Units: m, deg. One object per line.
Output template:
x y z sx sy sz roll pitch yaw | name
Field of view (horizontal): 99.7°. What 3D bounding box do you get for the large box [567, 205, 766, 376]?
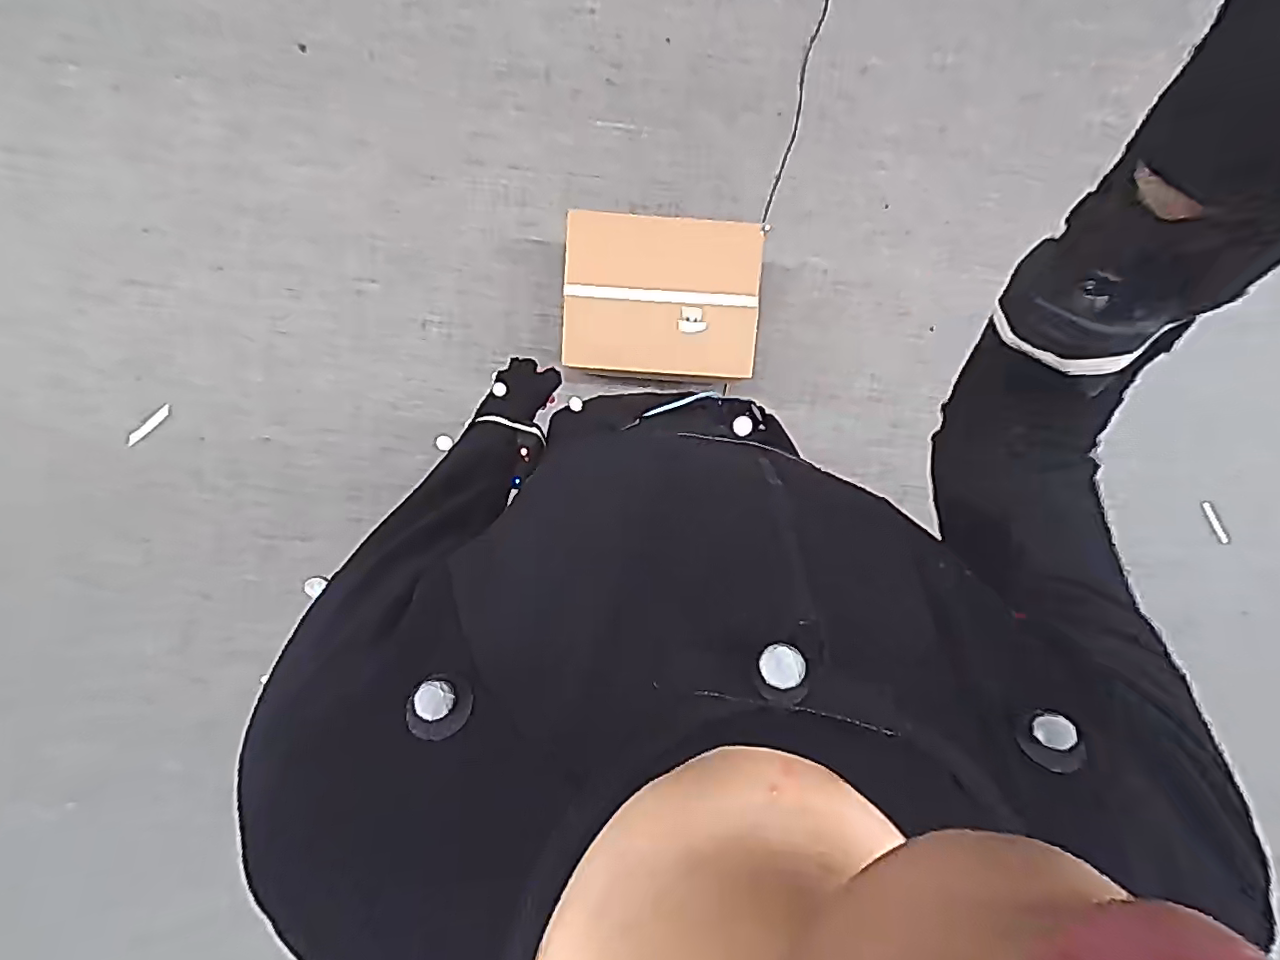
0.047 -0.418 1.272 0.408 0.320 0.320 4 99 -2 | large box
